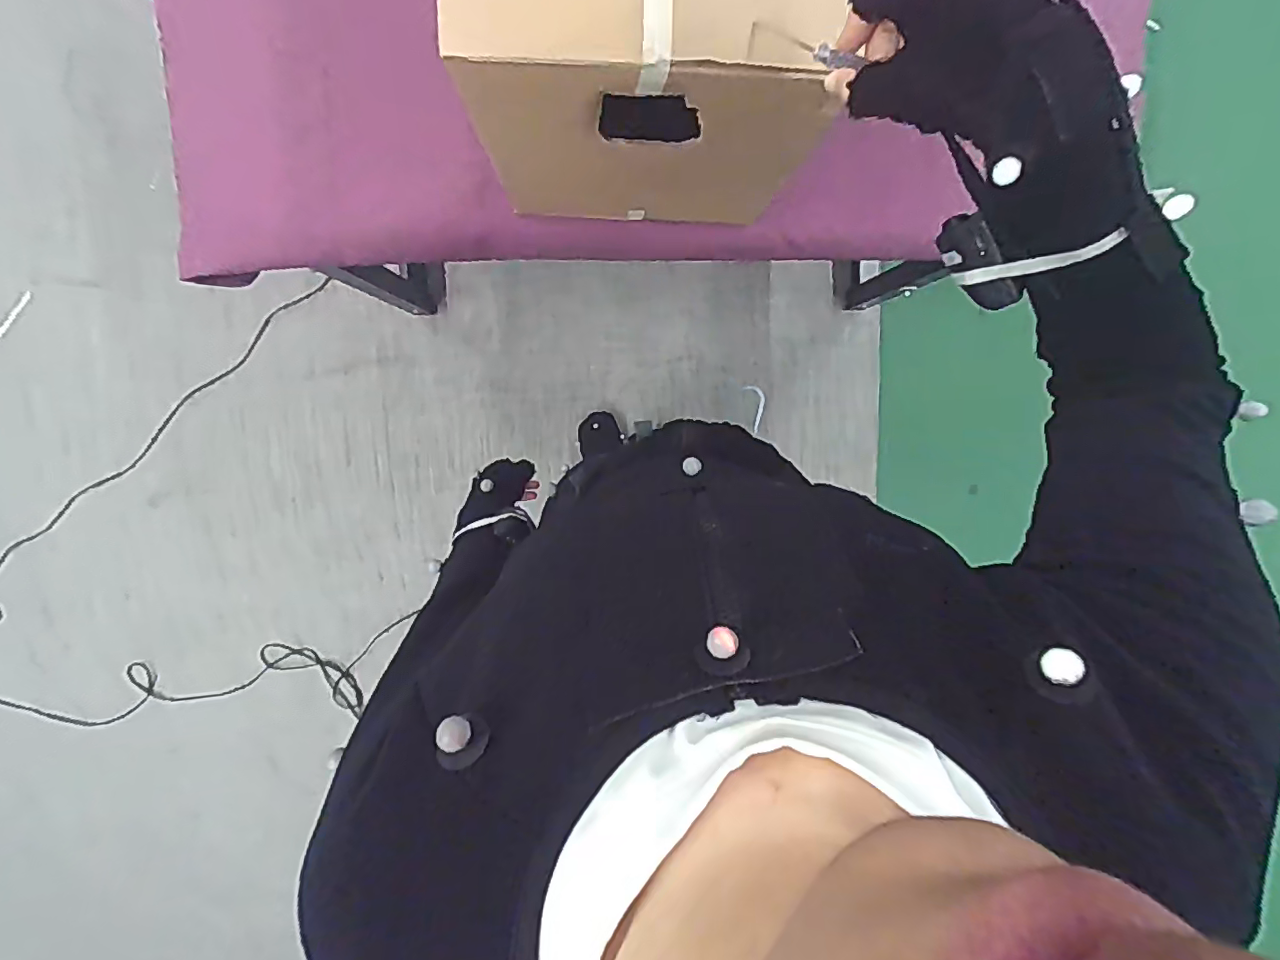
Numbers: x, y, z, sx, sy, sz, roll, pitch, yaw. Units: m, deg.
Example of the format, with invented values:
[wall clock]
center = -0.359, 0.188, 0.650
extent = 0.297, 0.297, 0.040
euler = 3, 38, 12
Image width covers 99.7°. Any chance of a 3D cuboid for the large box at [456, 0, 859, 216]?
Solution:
[large box]
center = 0.007, -0.527, 0.534
extent = 0.320, 0.320, 0.408
euler = 1, 98, -3
